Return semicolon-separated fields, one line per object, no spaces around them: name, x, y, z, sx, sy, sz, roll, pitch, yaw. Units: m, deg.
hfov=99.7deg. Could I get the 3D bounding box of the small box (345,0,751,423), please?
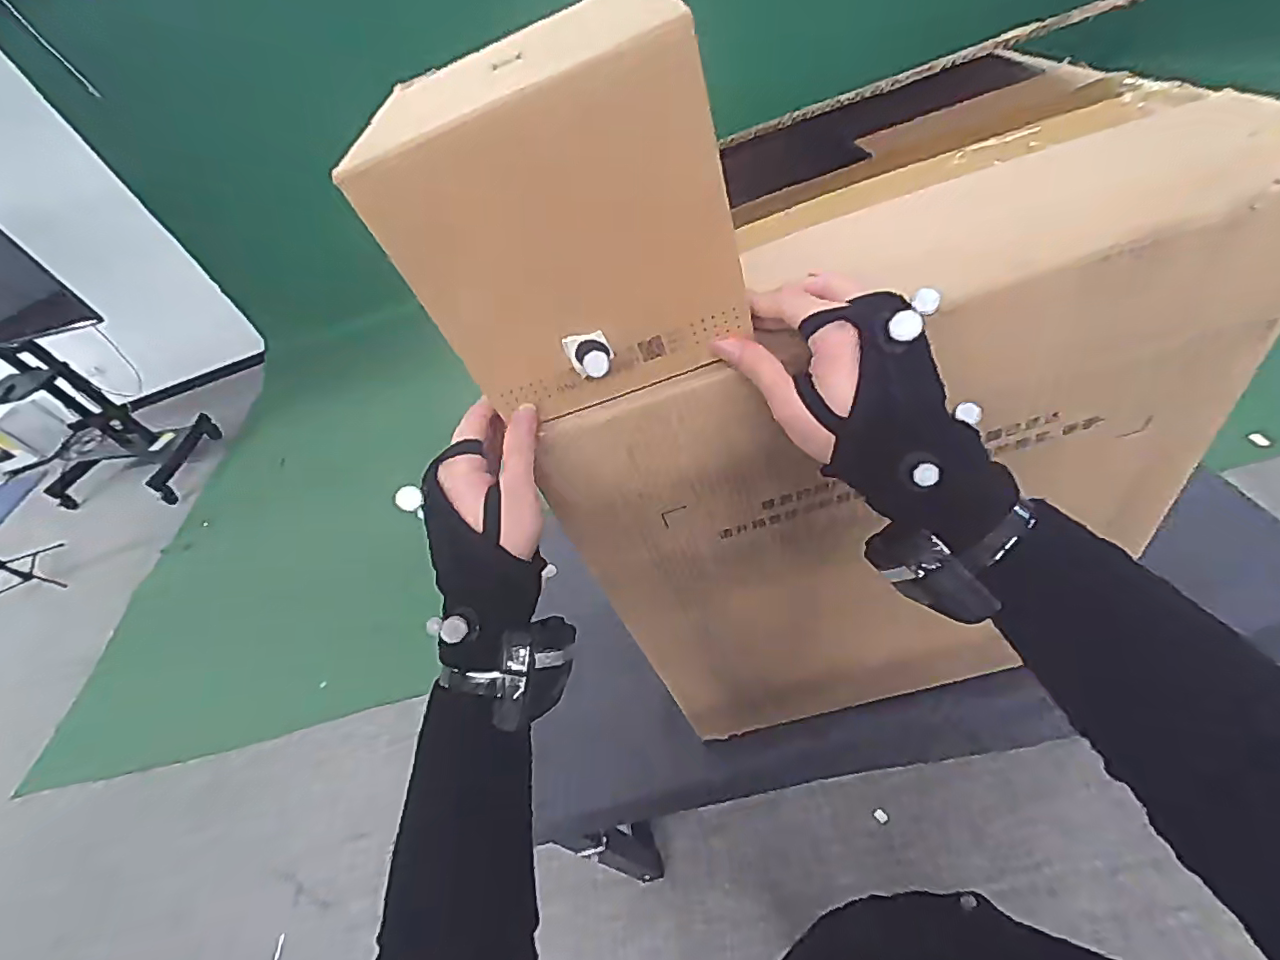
small box;-0.043;-0.168;0.342;0.168;0.176;0.179;-20;47;7
